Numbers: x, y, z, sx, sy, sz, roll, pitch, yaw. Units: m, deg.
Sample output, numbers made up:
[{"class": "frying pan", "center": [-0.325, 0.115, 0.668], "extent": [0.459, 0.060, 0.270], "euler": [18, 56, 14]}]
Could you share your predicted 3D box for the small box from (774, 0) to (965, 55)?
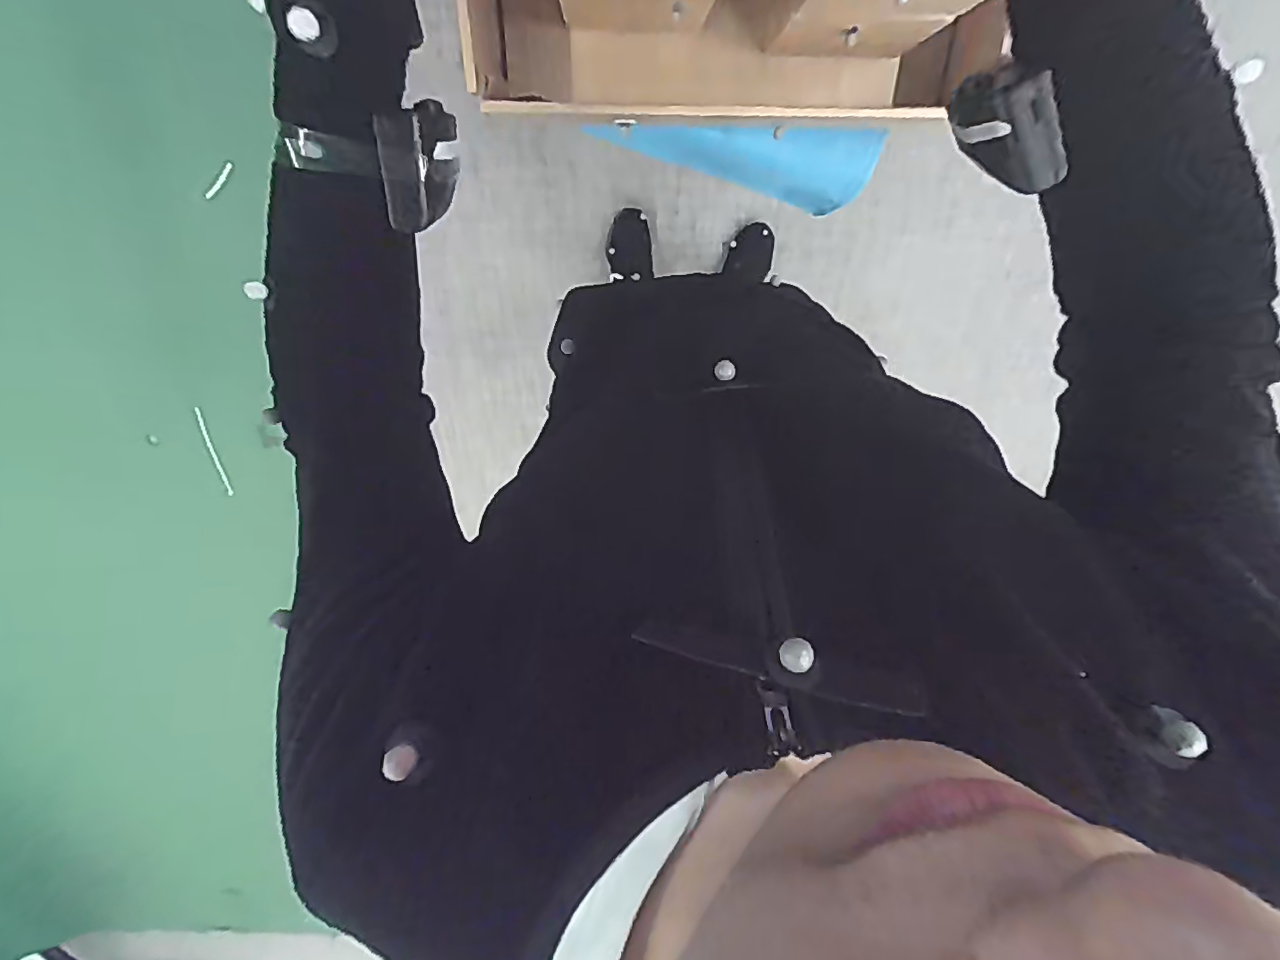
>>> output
[{"class": "small box", "center": [0.253, -0.591, 0.595], "extent": [0.179, 0.176, 0.168], "euler": [3, 117, 2]}]

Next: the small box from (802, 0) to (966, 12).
[{"class": "small box", "center": [0.247, -0.519, 0.448], "extent": [0.179, 0.176, 0.168], "euler": [2, 116, 3]}]
